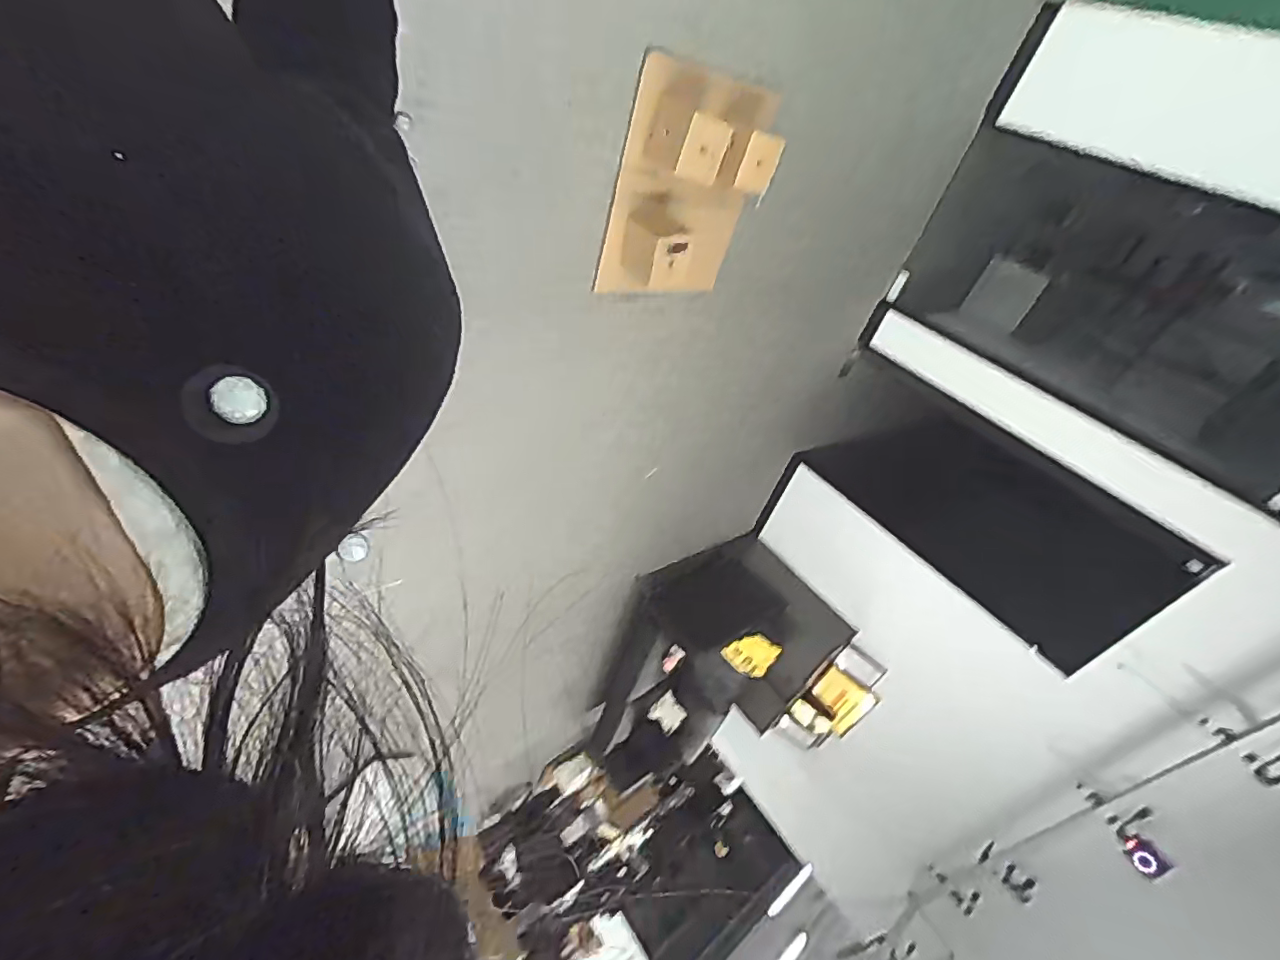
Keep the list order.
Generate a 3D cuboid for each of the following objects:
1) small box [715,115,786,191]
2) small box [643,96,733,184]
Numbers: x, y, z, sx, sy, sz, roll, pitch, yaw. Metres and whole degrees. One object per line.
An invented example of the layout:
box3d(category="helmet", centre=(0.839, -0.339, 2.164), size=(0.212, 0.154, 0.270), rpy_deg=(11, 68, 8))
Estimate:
box3d(category="small box", centre=(0.338, -1.081, 1.787), size=(0.179, 0.176, 0.168), rpy_deg=(-16, 140, -39))
box3d(category="small box", centre=(0.139, -1.021, 1.623), size=(0.179, 0.176, 0.168), rpy_deg=(-12, 138, -42))
